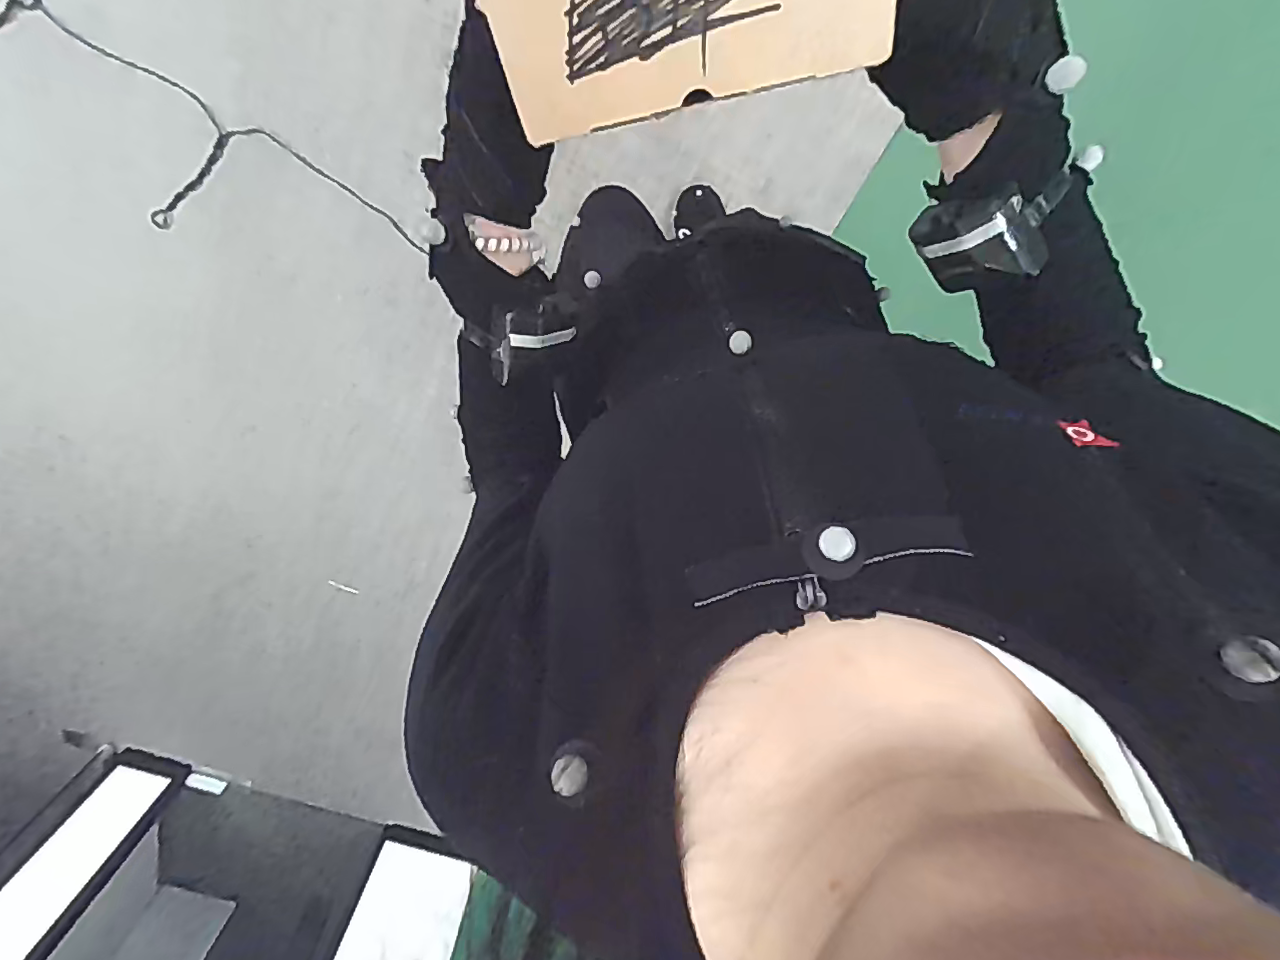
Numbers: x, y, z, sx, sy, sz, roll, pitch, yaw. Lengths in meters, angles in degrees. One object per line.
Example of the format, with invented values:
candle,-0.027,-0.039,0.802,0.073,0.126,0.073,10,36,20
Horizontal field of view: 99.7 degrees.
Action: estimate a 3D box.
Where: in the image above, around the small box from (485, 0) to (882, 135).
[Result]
small box,0.013,-0.293,0.240,0.168,0.176,0.179,-6,137,12
